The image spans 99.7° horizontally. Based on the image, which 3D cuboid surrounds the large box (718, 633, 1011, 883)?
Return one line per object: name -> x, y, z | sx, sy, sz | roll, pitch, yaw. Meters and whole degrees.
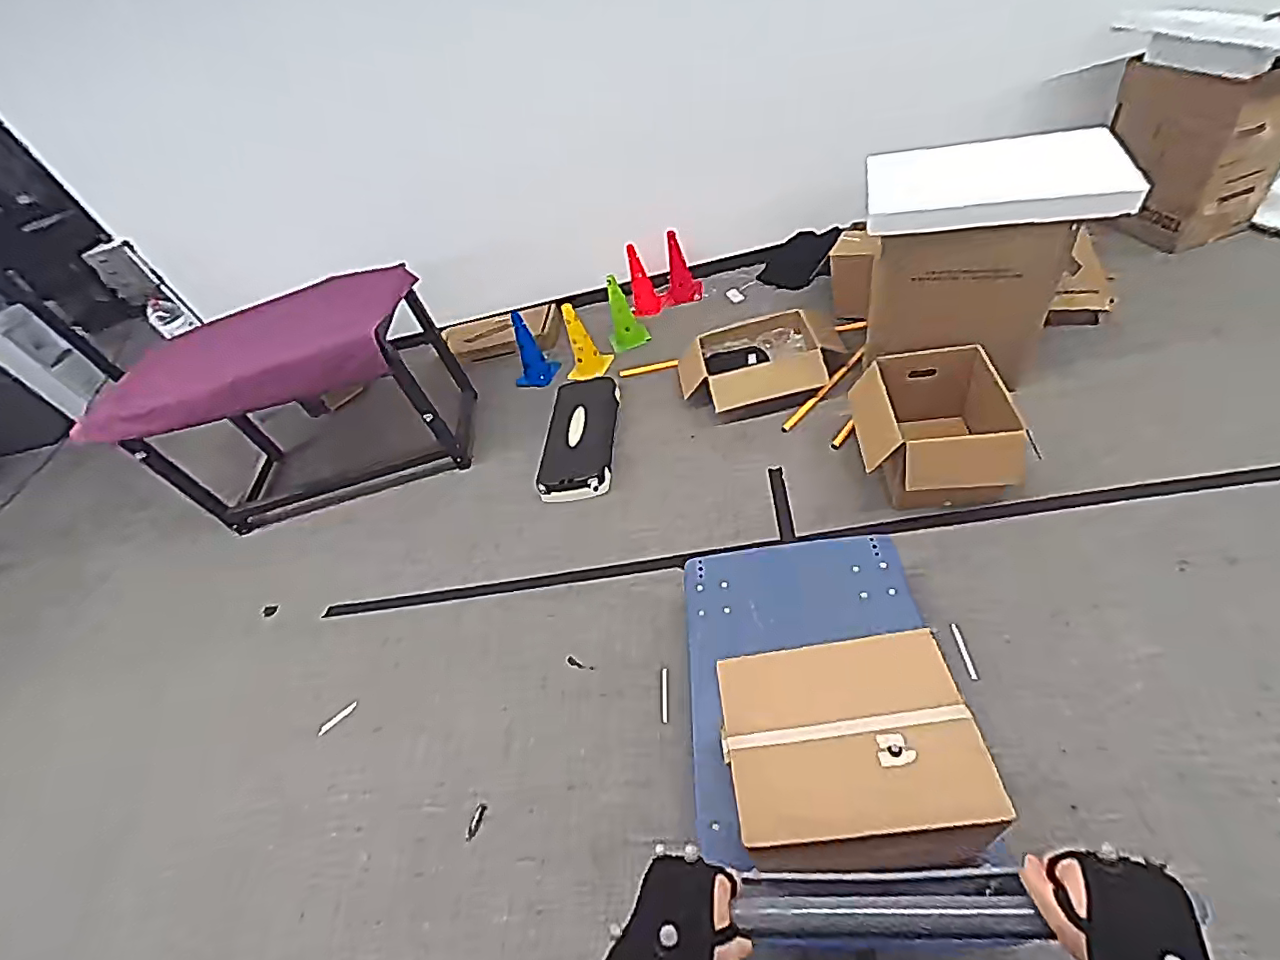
large box -> 0.386, 0.536, 1.032 | 0.408, 0.320, 0.320 | -11, 45, 7
